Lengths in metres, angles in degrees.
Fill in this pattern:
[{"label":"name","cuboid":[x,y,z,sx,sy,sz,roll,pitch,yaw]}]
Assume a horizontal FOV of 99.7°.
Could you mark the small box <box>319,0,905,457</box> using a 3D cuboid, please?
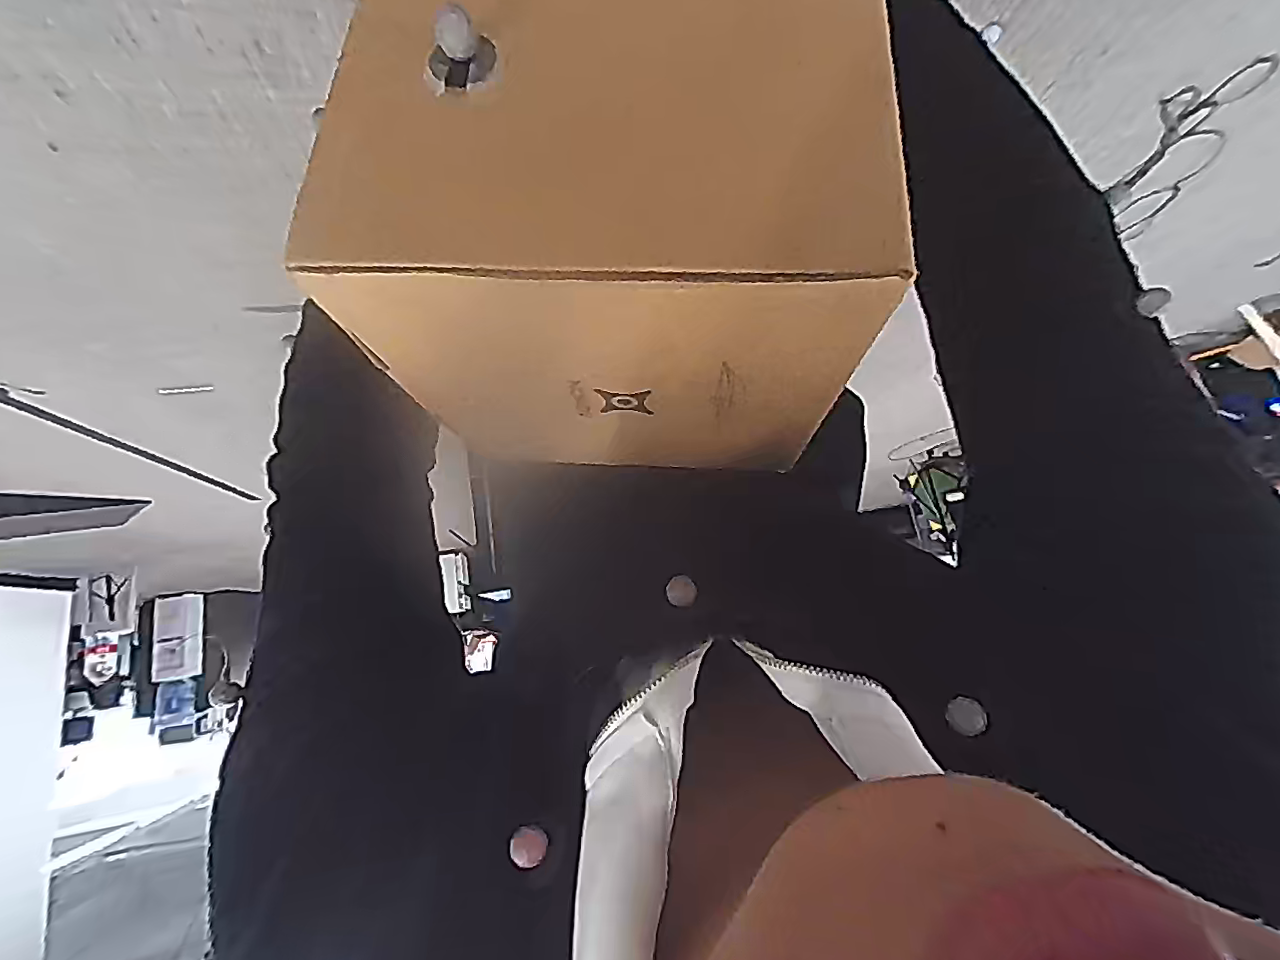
[{"label":"small box","cuboid":[-0.003,-0.119,0.254,0.179,0.176,0.168,1,164,4]}]
